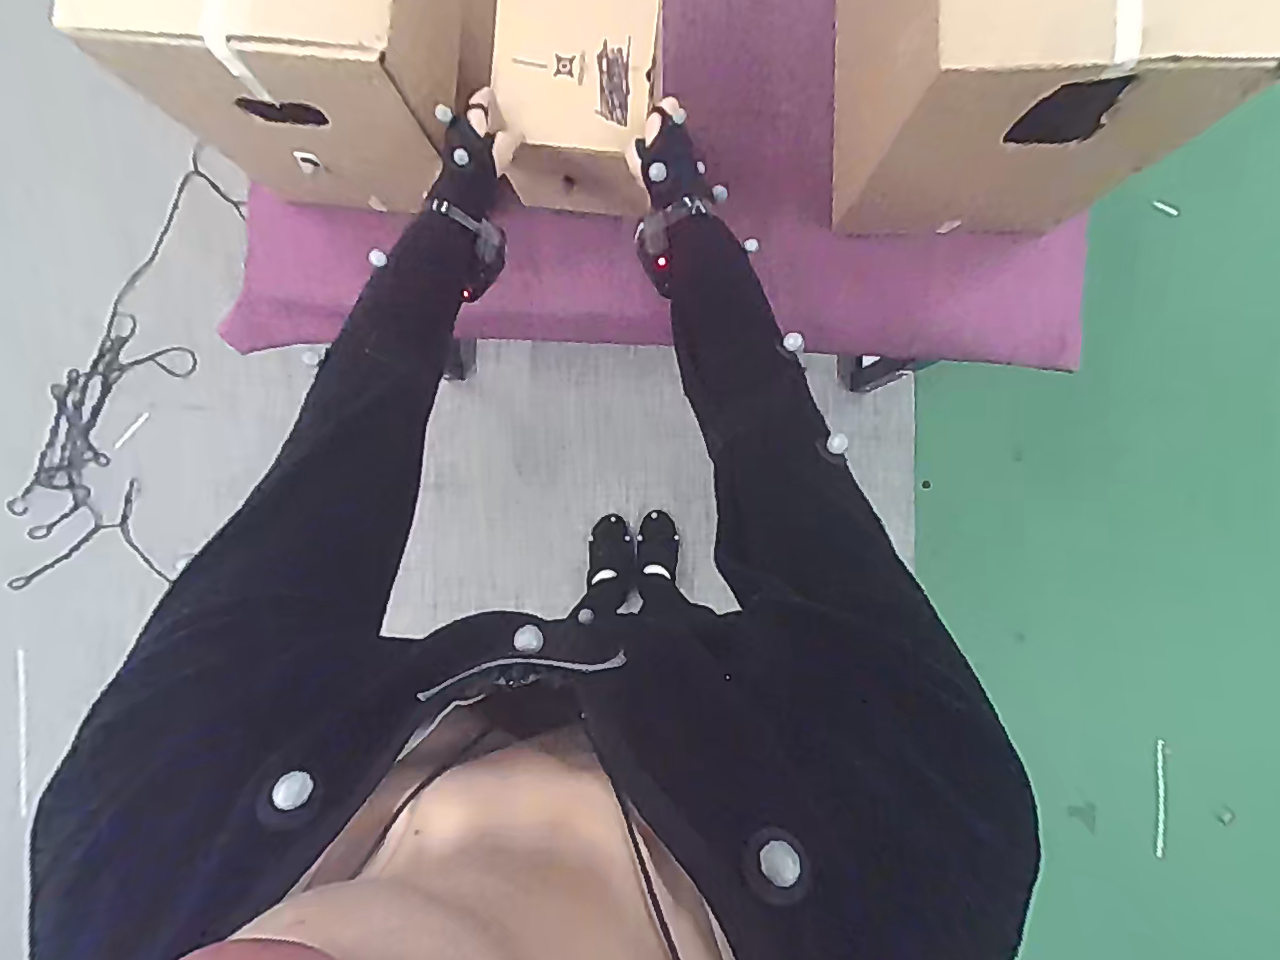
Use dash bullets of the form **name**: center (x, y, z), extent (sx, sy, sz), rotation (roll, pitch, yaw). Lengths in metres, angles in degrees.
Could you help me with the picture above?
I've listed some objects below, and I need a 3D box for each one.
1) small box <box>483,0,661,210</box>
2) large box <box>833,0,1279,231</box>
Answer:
- **small box**: center (-0.070, -0.446, 0.649), extent (0.179, 0.176, 0.168), rotation (7, 95, 2)
- **large box**: center (0.426, -0.555, 0.625), extent (0.320, 0.320, 0.408), rotation (1, 90, 3)
